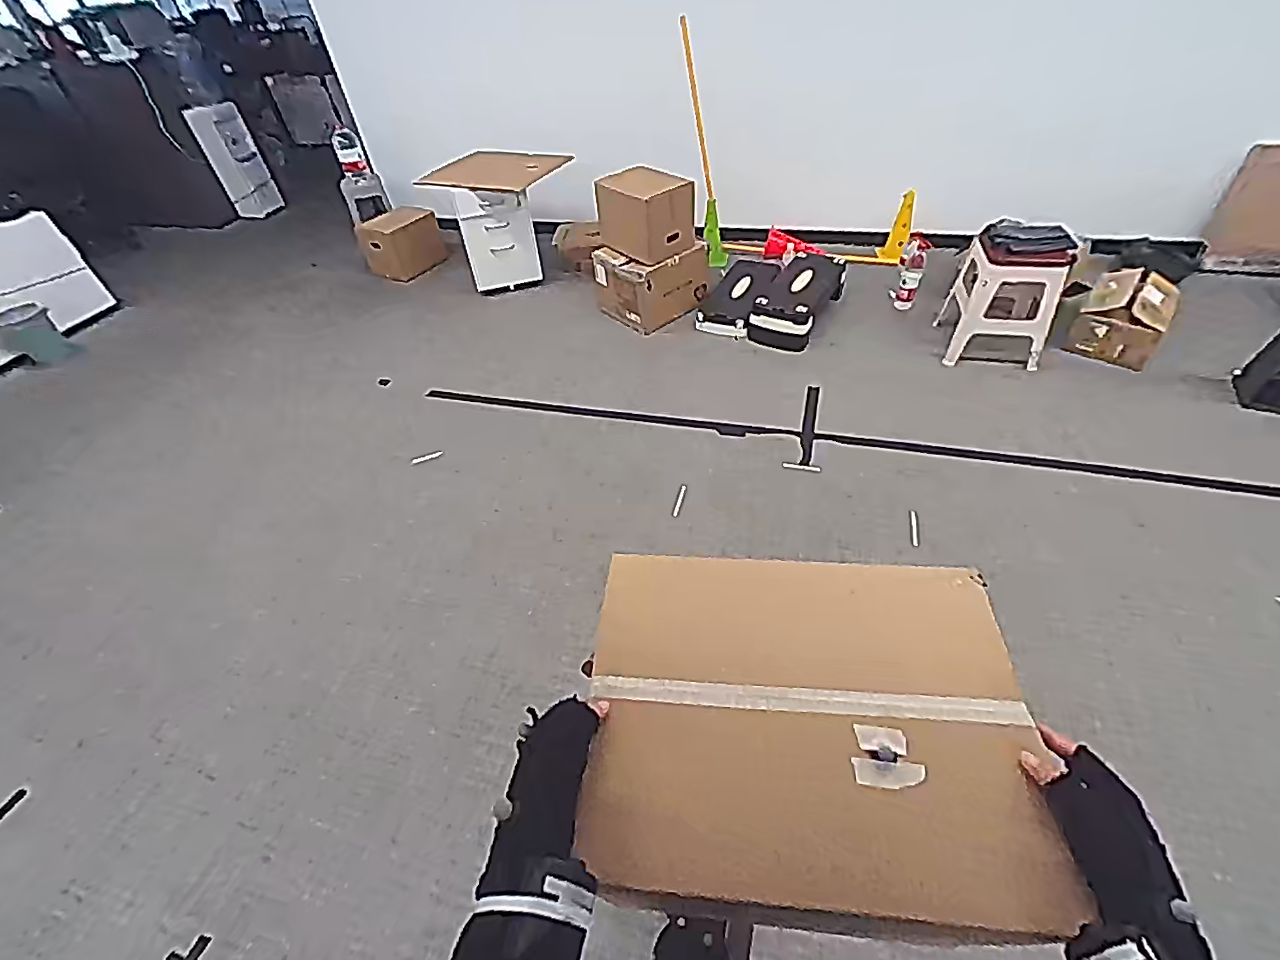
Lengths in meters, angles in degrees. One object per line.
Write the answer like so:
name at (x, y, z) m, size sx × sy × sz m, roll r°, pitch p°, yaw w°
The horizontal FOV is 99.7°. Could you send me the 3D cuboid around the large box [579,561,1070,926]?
large box at (0.163, 0.315, 0.650) m, size 0.408 × 0.320 × 0.320 m, roll 1°, pitch 50°, yaw 6°
